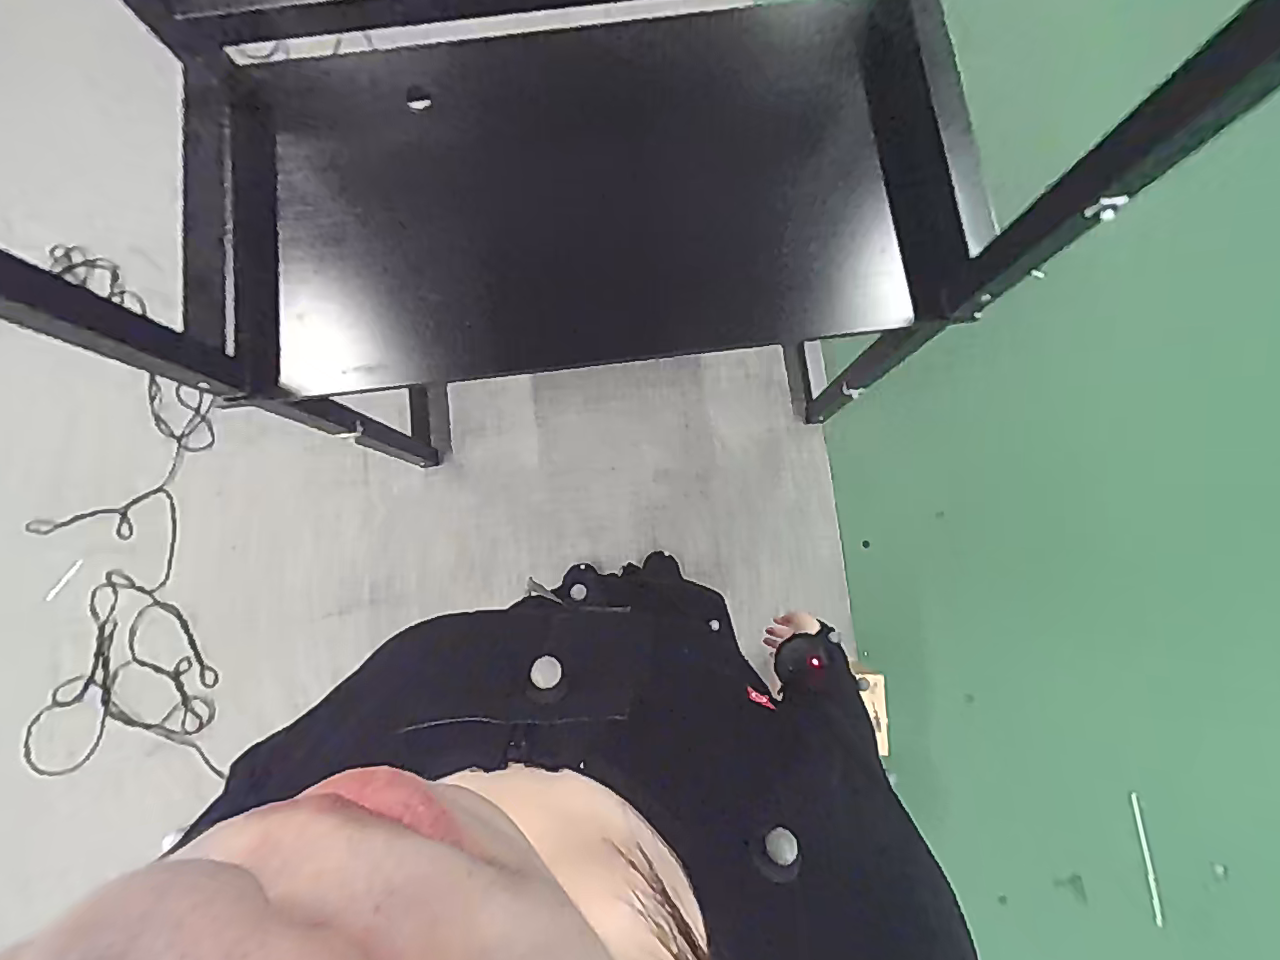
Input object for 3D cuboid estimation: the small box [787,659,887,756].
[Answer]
[{"bbox_3d":[0.432,0.504,1.218,0.179,0.176,0.168,0,82,2],"label":"small box"}]
